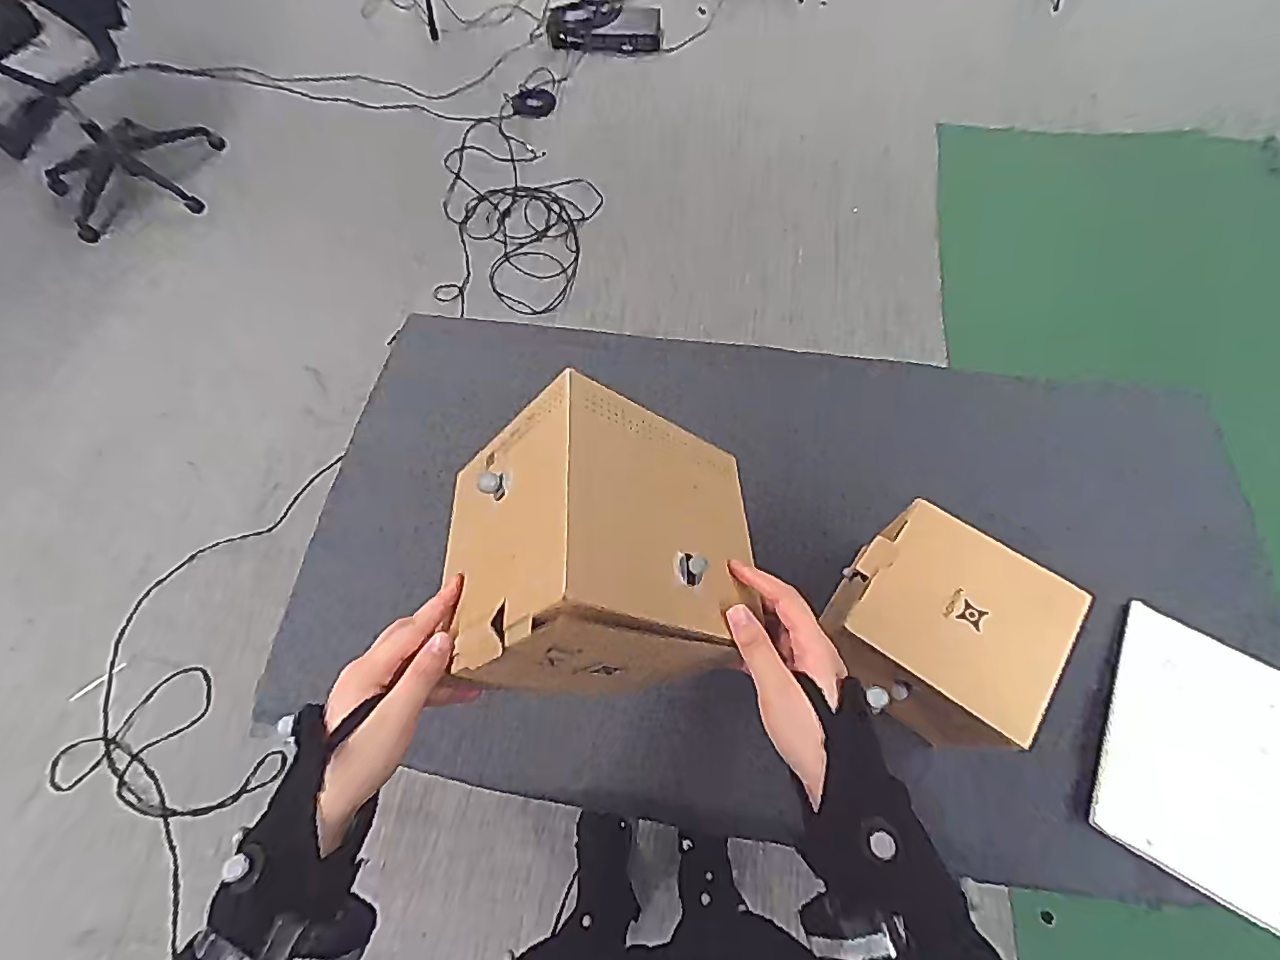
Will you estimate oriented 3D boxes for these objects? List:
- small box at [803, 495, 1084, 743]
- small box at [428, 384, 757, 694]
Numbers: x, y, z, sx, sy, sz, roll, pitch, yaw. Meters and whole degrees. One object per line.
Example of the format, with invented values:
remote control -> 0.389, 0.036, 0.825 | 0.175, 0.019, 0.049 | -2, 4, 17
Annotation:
small box -> 0.305, 0.150, 0.579 | 0.179, 0.176, 0.168 | 34, 72, 17
small box -> -0.036, 0.055, 0.426 | 0.168, 0.179, 0.176 | -36, 44, 36
